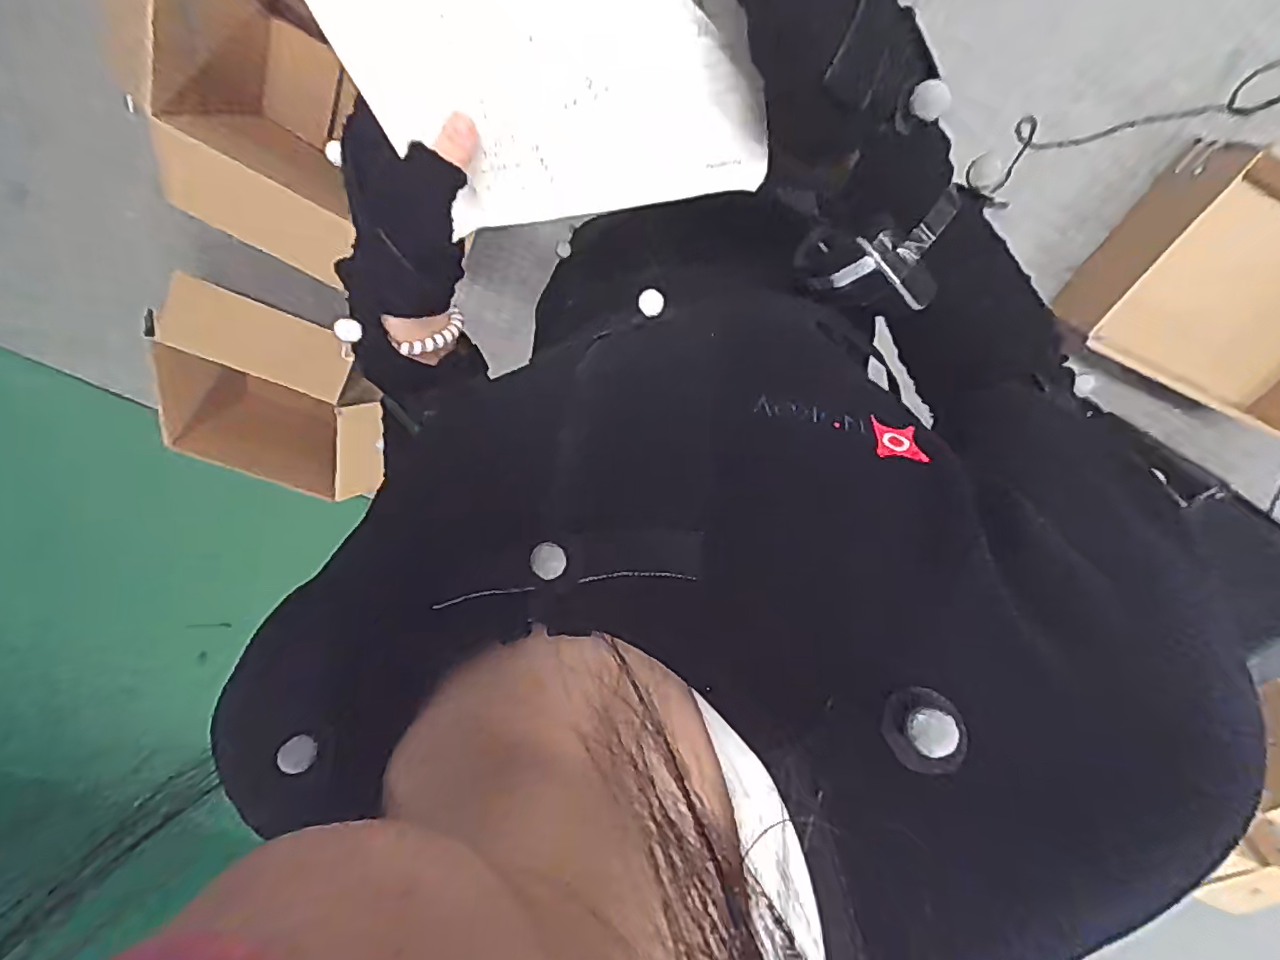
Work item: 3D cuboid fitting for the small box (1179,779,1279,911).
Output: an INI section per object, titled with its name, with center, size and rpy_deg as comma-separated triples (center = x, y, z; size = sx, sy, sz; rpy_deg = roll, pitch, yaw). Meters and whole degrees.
[small box]
center = 1.201, 0.755, 1.125
size = 0.179, 0.176, 0.168
rpy_deg = 28, 122, -14
